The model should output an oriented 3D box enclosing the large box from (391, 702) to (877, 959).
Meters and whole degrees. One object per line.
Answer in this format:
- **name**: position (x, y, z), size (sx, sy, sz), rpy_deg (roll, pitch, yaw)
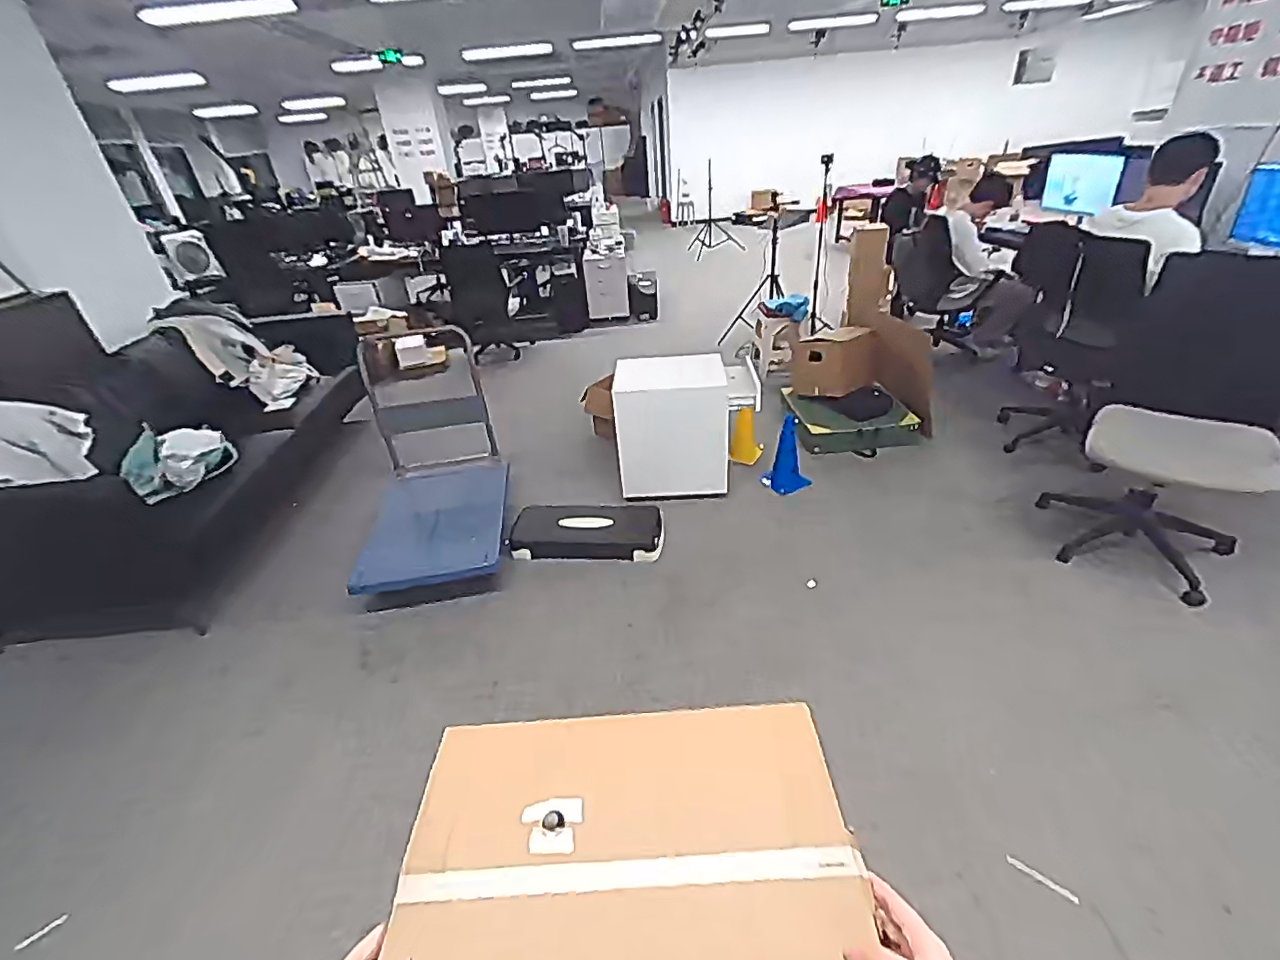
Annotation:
- **large box**: position (0.006, 0.478, 0.571), size (0.408, 0.320, 0.320), rpy_deg (-7, 34, 3)
